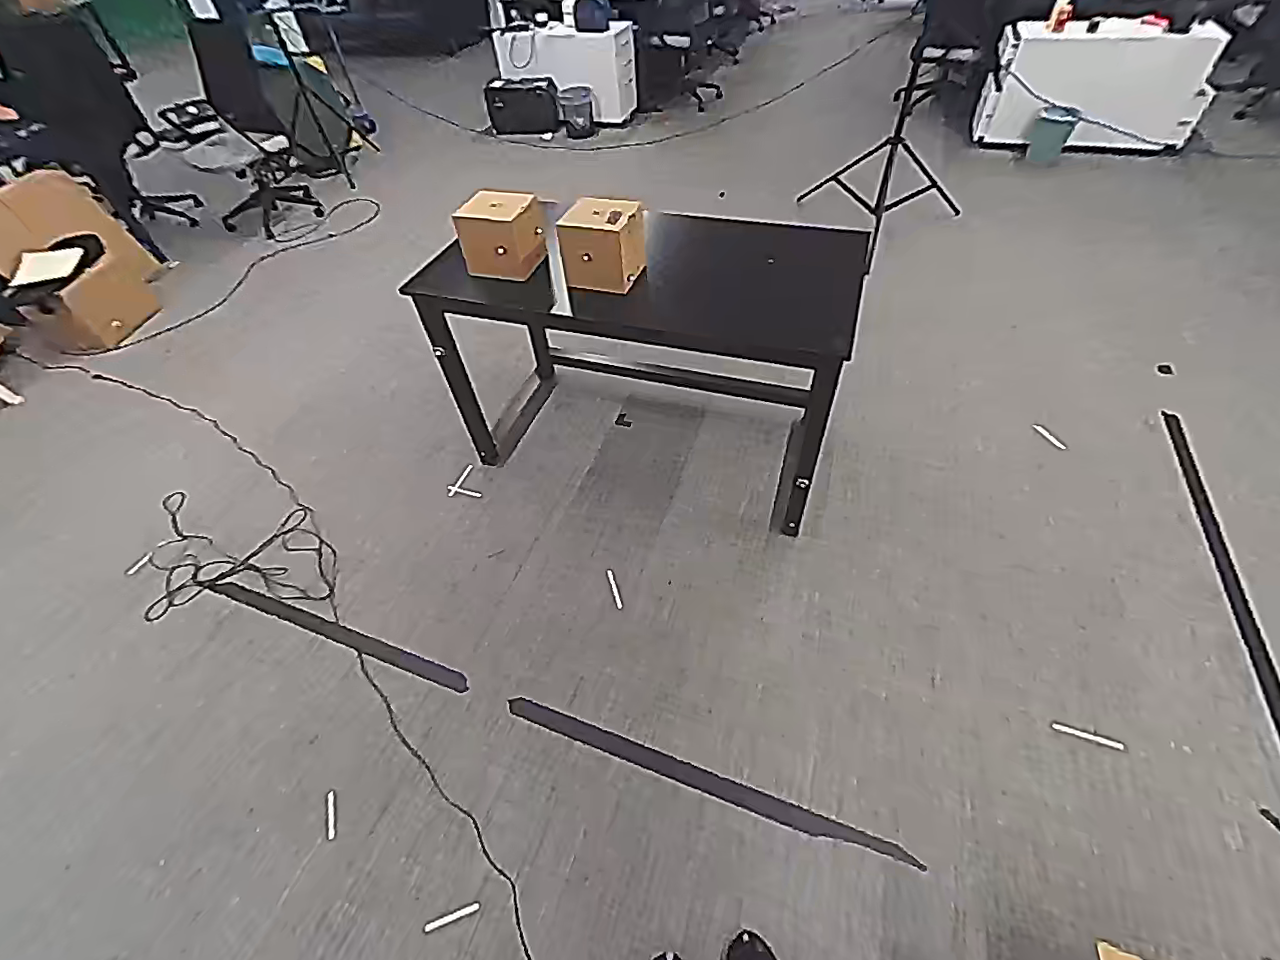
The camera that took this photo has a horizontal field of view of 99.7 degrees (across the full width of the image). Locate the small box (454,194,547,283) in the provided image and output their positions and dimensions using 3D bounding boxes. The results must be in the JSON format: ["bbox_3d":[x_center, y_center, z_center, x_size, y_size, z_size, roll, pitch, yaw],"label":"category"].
[{"bbox_3d":[-0.376,-0.666,1.497,0.179,0.176,0.168,10,50,14],"label":"small box"}]

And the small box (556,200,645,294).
[{"bbox_3d":[-0.095,-0.611,1.424,0.179,0.176,0.168,13,52,16],"label":"small box"}]
